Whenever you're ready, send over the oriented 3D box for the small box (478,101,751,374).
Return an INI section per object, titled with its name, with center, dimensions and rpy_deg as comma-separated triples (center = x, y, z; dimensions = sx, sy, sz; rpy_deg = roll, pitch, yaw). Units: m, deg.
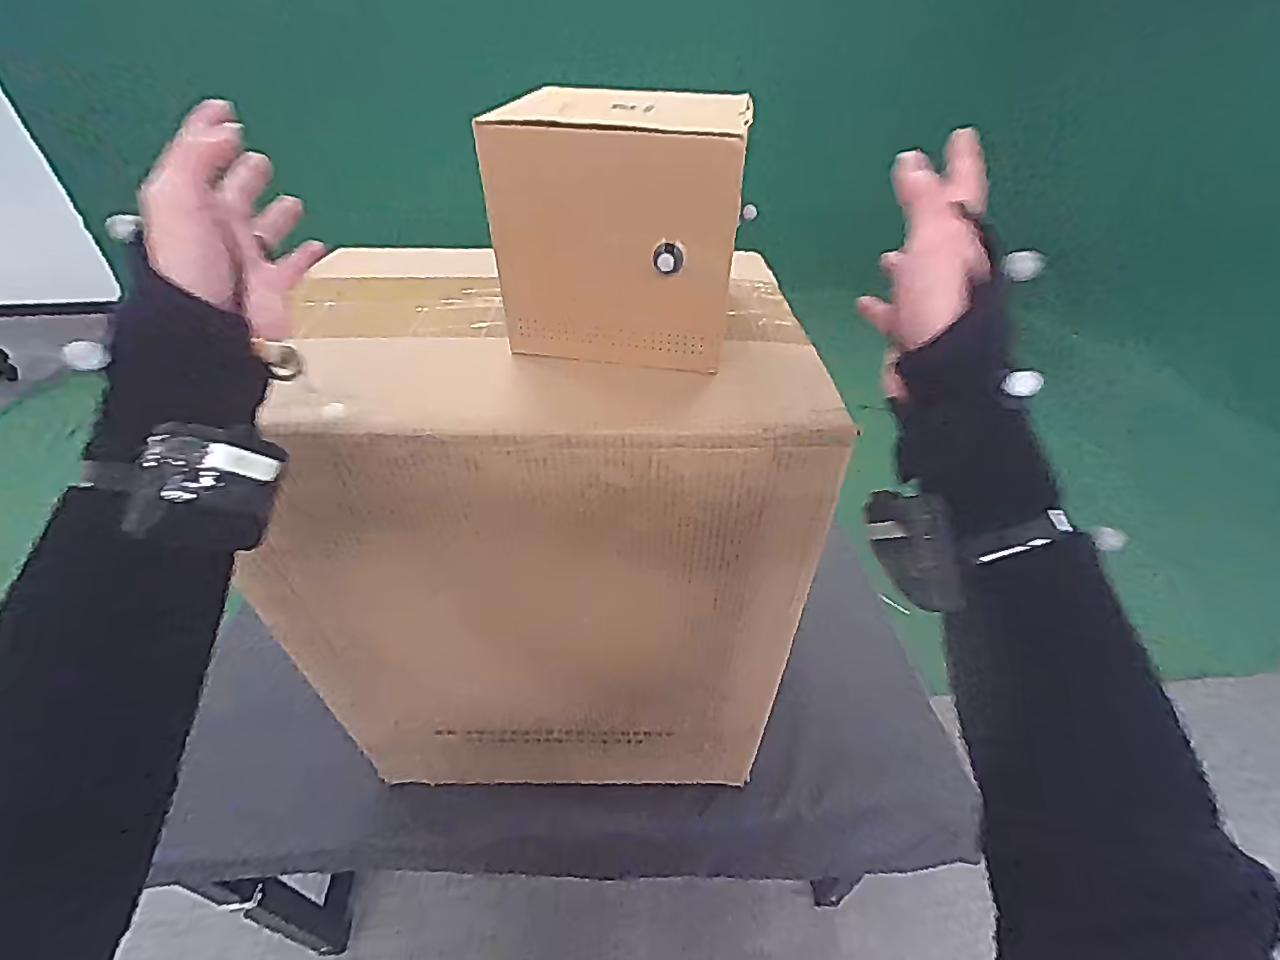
[small box]
center = -0.008, -0.204, 0.457
dimensions = 0.179, 0.176, 0.168
rpy_deg = 7, 42, 9
